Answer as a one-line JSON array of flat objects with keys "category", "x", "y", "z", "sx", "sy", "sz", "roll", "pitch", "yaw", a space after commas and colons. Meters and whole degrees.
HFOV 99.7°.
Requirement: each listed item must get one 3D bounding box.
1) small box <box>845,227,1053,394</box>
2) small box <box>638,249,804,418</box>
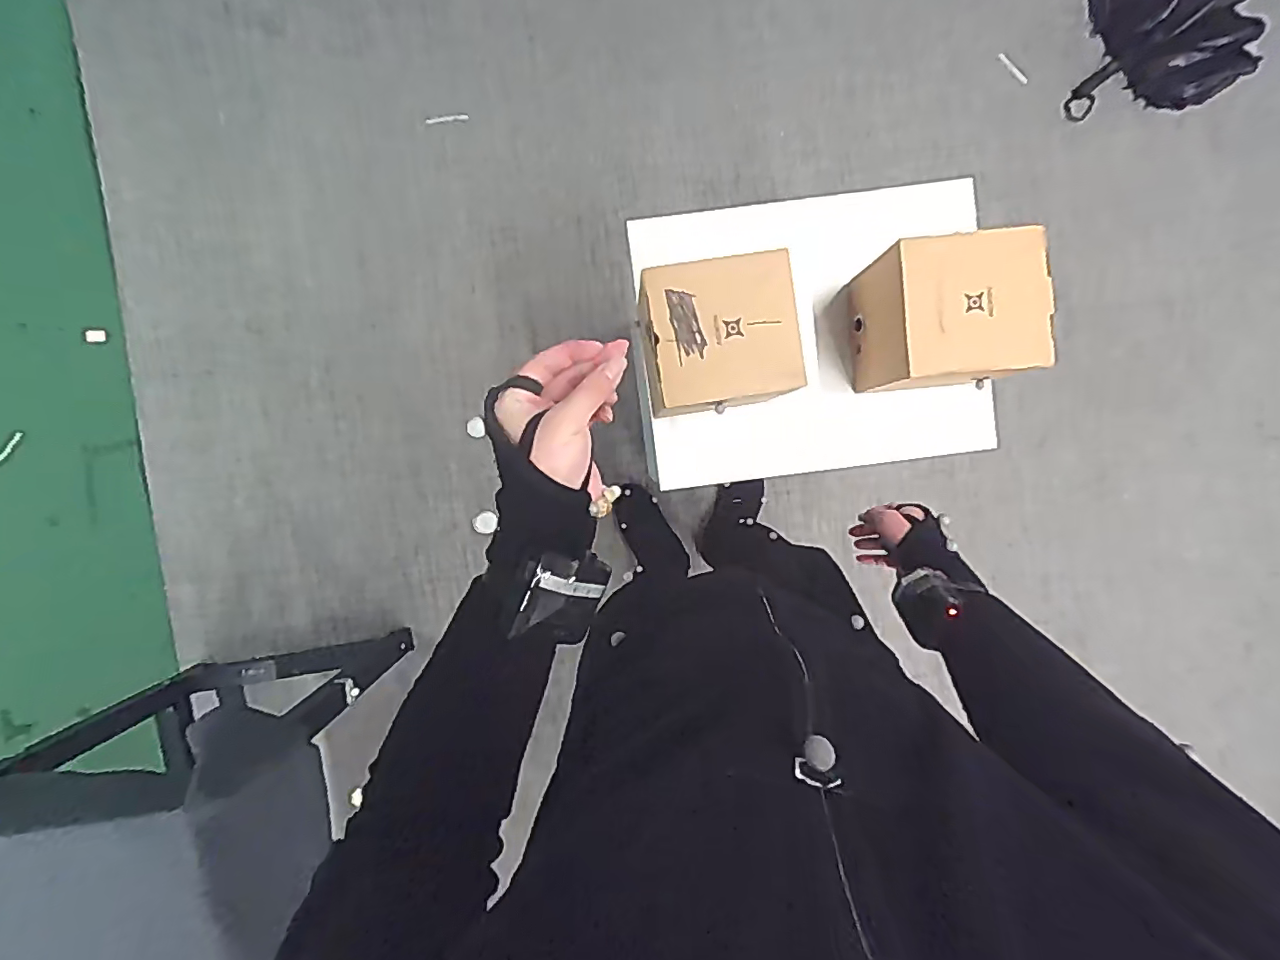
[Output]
[{"category": "small box", "x": 0.390, "y": -0.209, "z": 0.707, "sx": 0.179, "sy": 0.176, "sz": 0.168, "roll": -5, "pitch": 92, "yaw": 1}, {"category": "small box", "x": 0.093, "y": -0.177, "z": 0.704, "sx": 0.179, "sy": 0.176, "sz": 0.168, "roll": -9, "pitch": 93, "yaw": -2}]
